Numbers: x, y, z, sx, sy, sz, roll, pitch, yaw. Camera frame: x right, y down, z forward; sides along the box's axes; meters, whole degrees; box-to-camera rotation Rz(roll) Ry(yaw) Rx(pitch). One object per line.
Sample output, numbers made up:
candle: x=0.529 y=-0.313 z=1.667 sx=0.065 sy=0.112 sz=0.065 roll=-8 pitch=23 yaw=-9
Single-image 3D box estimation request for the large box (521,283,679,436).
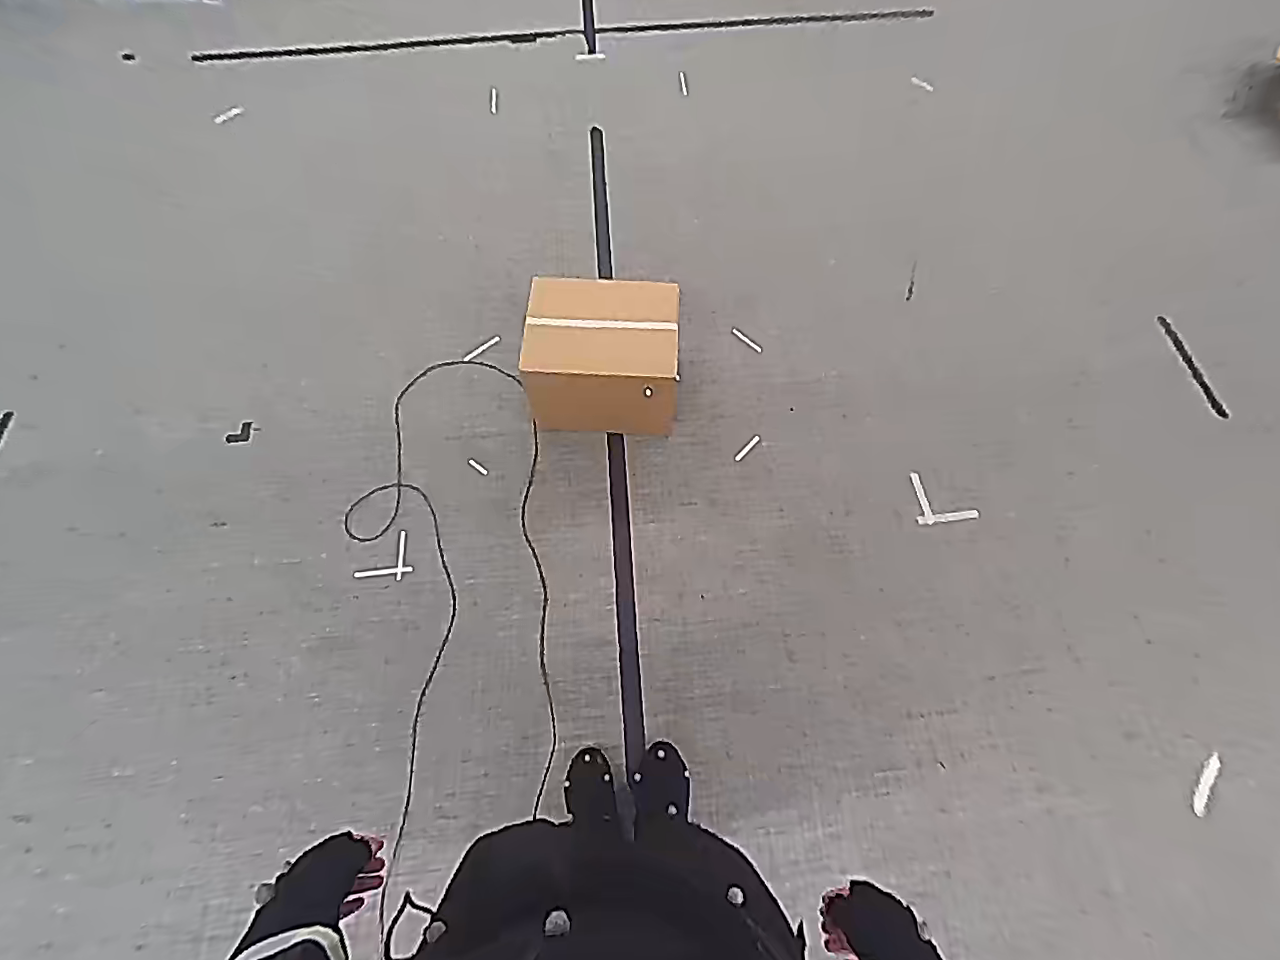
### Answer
large box: x=-0.098 y=-0.335 z=1.554 sx=0.408 sy=0.320 sz=0.320 roll=3 pitch=66 yaw=0
